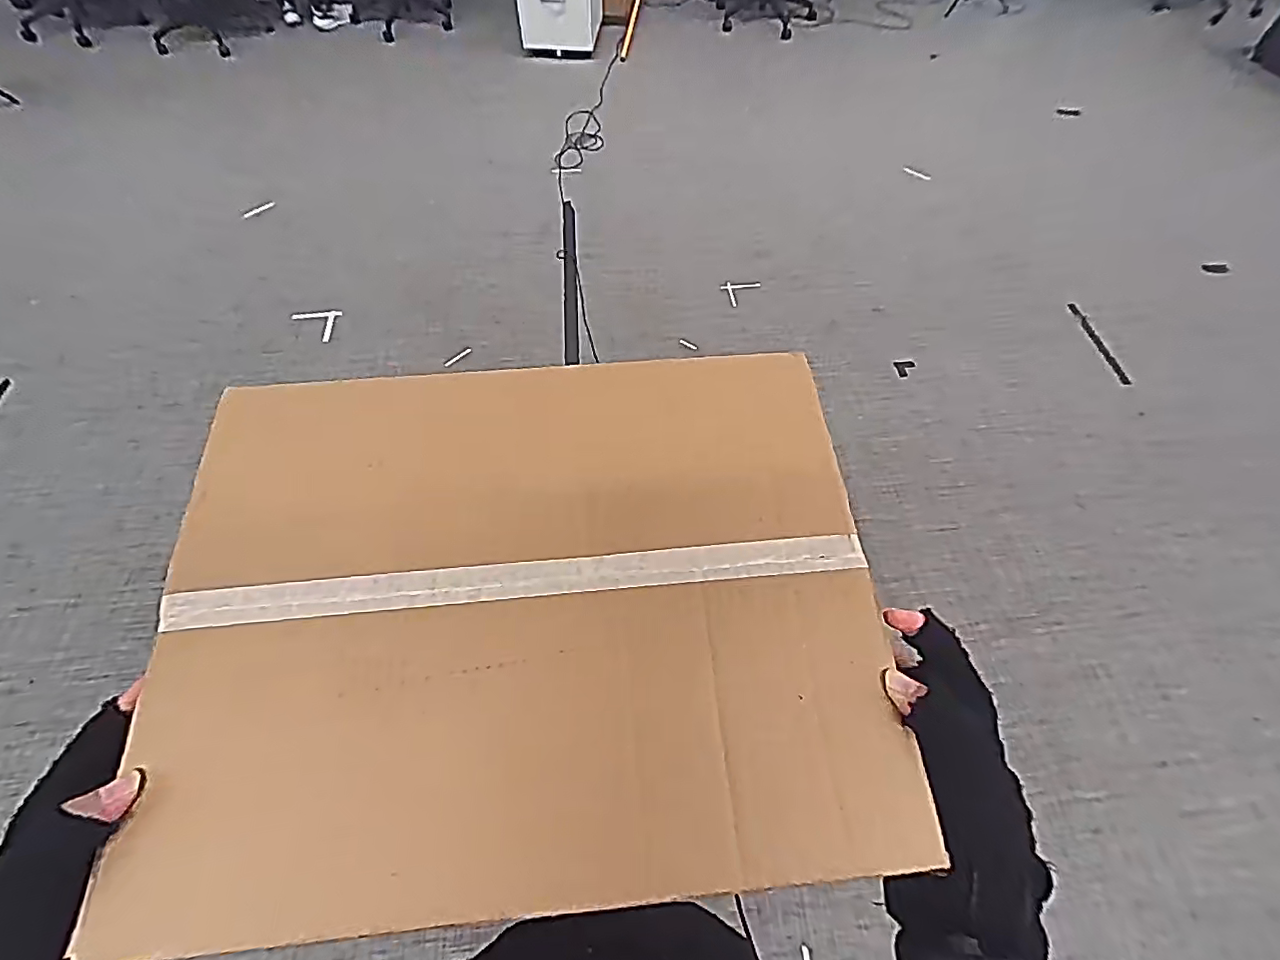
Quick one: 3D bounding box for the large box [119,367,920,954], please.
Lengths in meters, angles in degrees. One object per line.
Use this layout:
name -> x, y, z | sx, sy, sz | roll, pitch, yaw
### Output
large box -> -0.070, 0.134, 0.464 | 0.408, 0.320, 0.320 | -5, 65, -3
